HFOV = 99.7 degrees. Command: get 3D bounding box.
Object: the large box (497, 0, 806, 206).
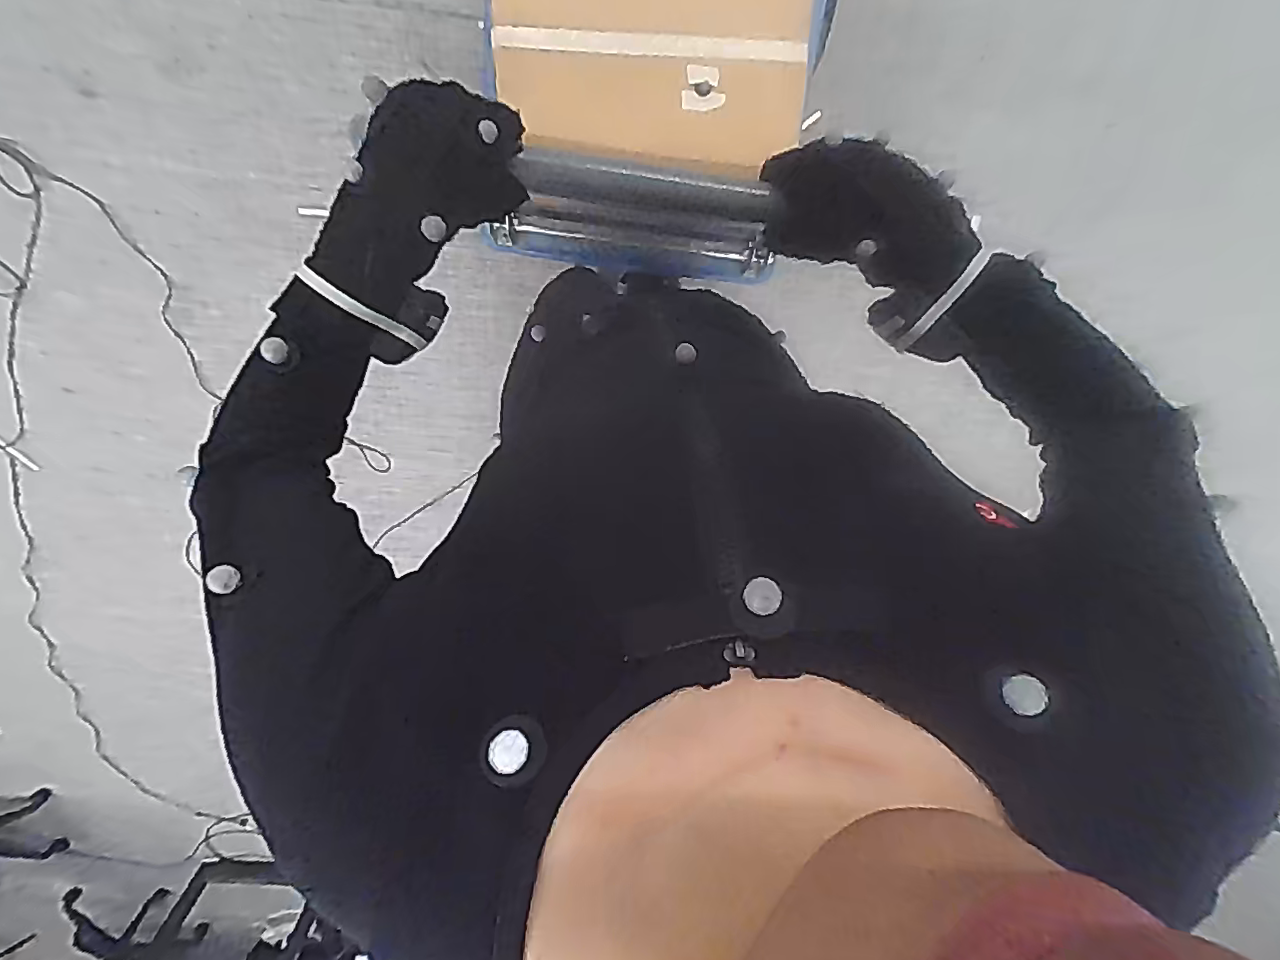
[{"bbox_3d":[0.006,-0.621,0.844,0.408,0.320,0.320,0,111,-4],"label":"large box"}]
